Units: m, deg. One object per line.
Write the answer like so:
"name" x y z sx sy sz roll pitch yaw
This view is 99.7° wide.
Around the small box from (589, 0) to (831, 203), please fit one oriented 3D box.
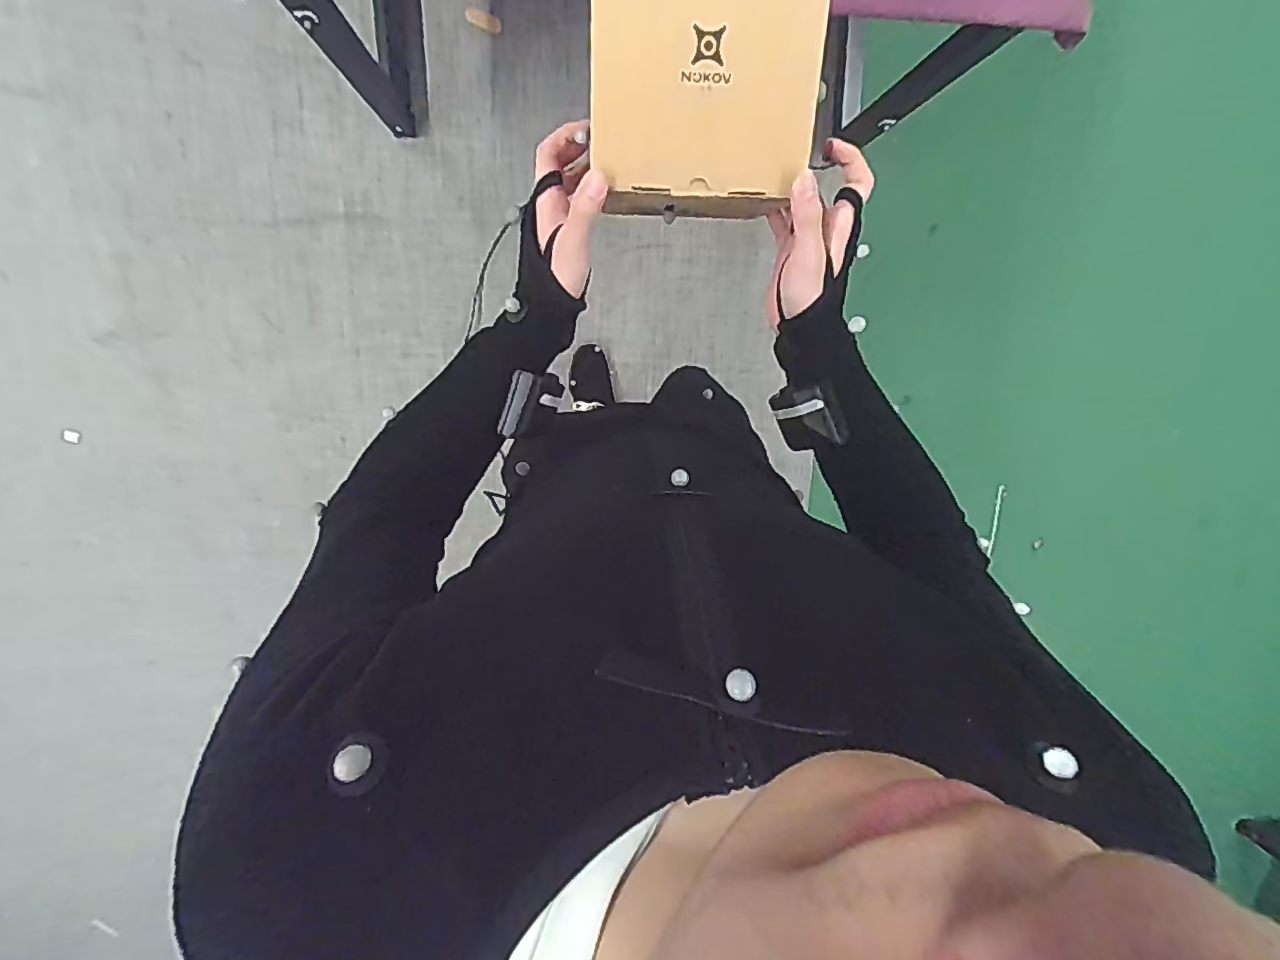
"small box" 0.043 -0.336 0.443 0.168 0.176 0.179 1 113 -3
